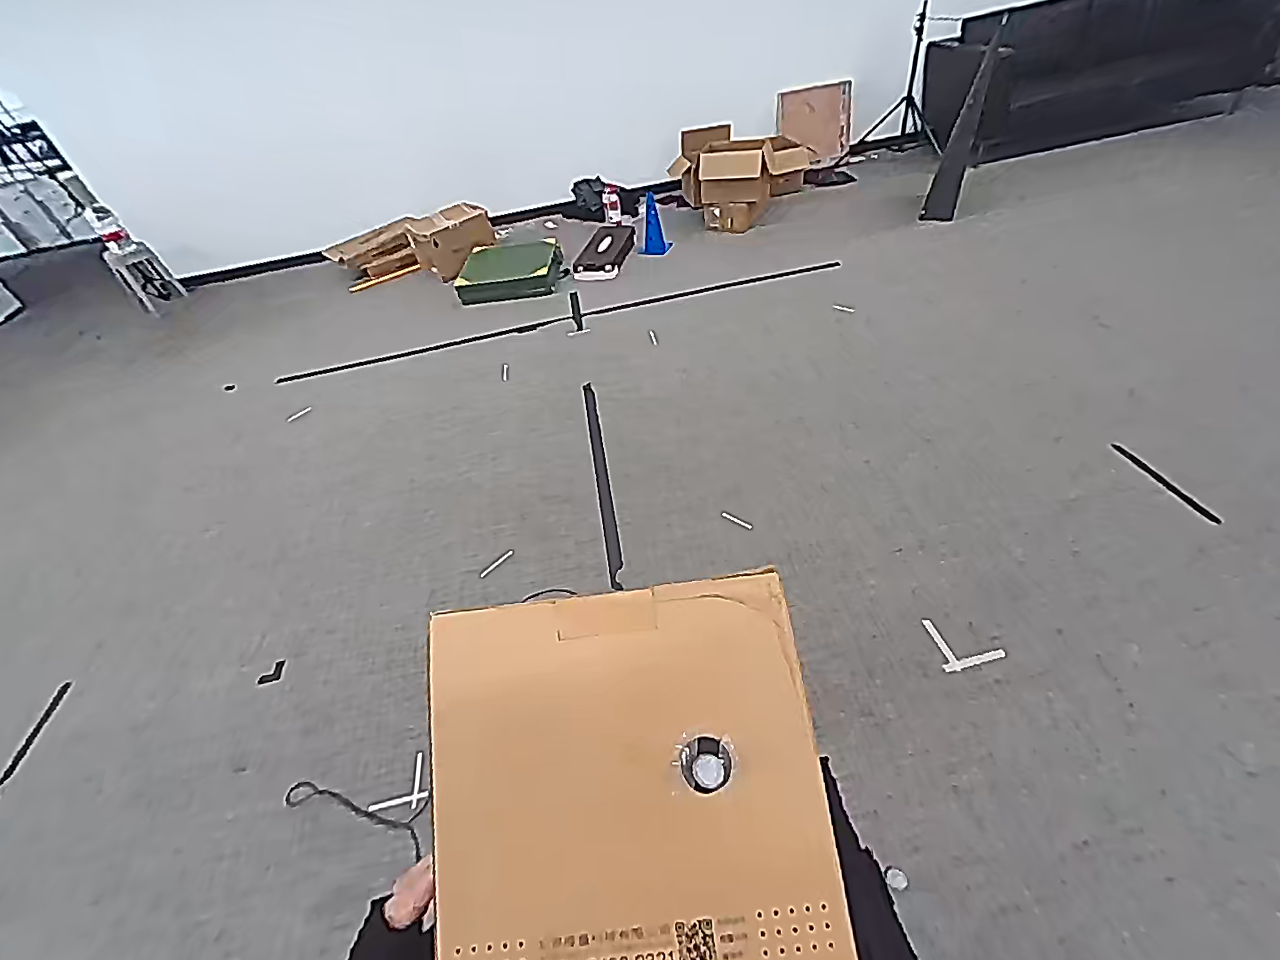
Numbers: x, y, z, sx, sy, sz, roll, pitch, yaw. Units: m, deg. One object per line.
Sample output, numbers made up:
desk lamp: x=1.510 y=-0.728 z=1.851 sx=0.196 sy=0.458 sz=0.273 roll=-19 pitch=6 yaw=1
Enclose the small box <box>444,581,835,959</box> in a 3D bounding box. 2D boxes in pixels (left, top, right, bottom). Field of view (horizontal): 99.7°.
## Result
small box: x=0.001 y=0.161 z=0.323 sx=0.168 sy=0.179 sz=0.176 roll=-8 pitch=75 yaw=2
